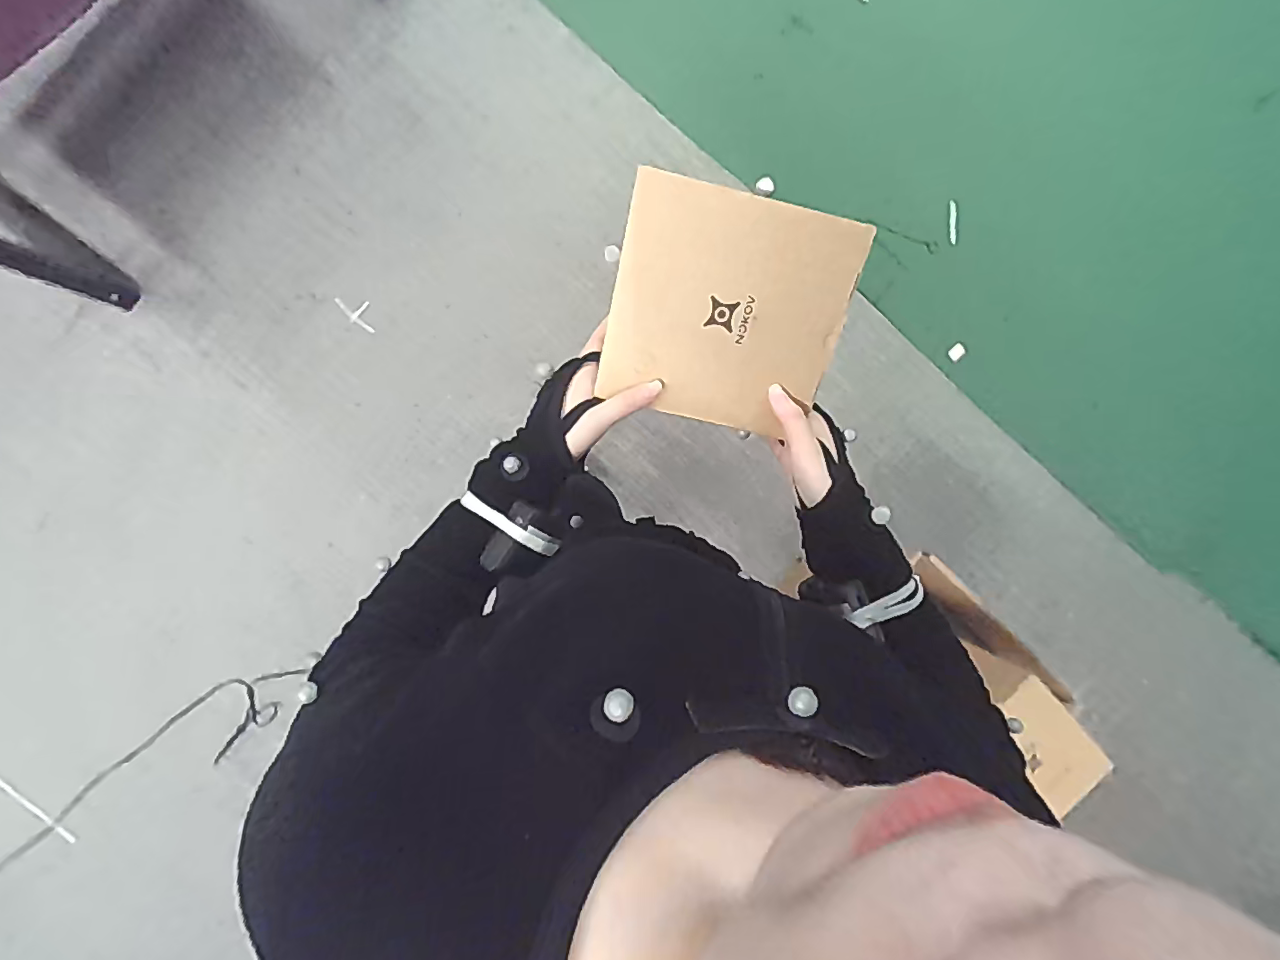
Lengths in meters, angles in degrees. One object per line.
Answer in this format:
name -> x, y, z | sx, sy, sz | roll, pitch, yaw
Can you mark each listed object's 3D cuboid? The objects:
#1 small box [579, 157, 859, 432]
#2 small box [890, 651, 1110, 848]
small box -> 0.052, -0.159, 0.475 | 0.179, 0.176, 0.168 | 11, 112, -6
small box -> 0.516, 0.379, 0.805 | 0.168, 0.176, 0.179 | -41, 92, -1
